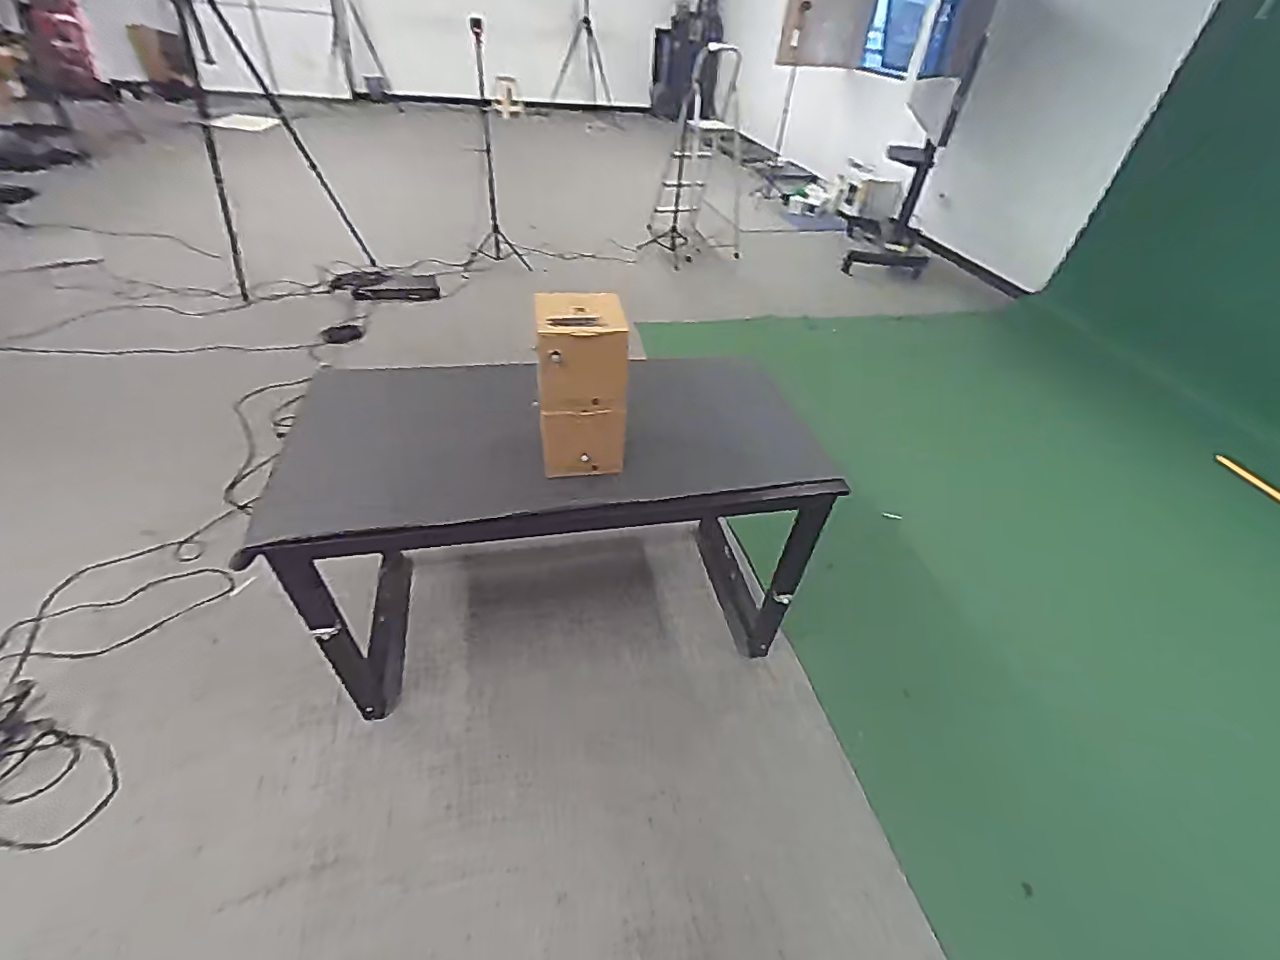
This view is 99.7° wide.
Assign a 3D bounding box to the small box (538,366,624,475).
[{"bbox_3d":[-0.133,-0.130,1.175,0.168,0.176,0.179,-5,43,-11],"label":"small box"}]
